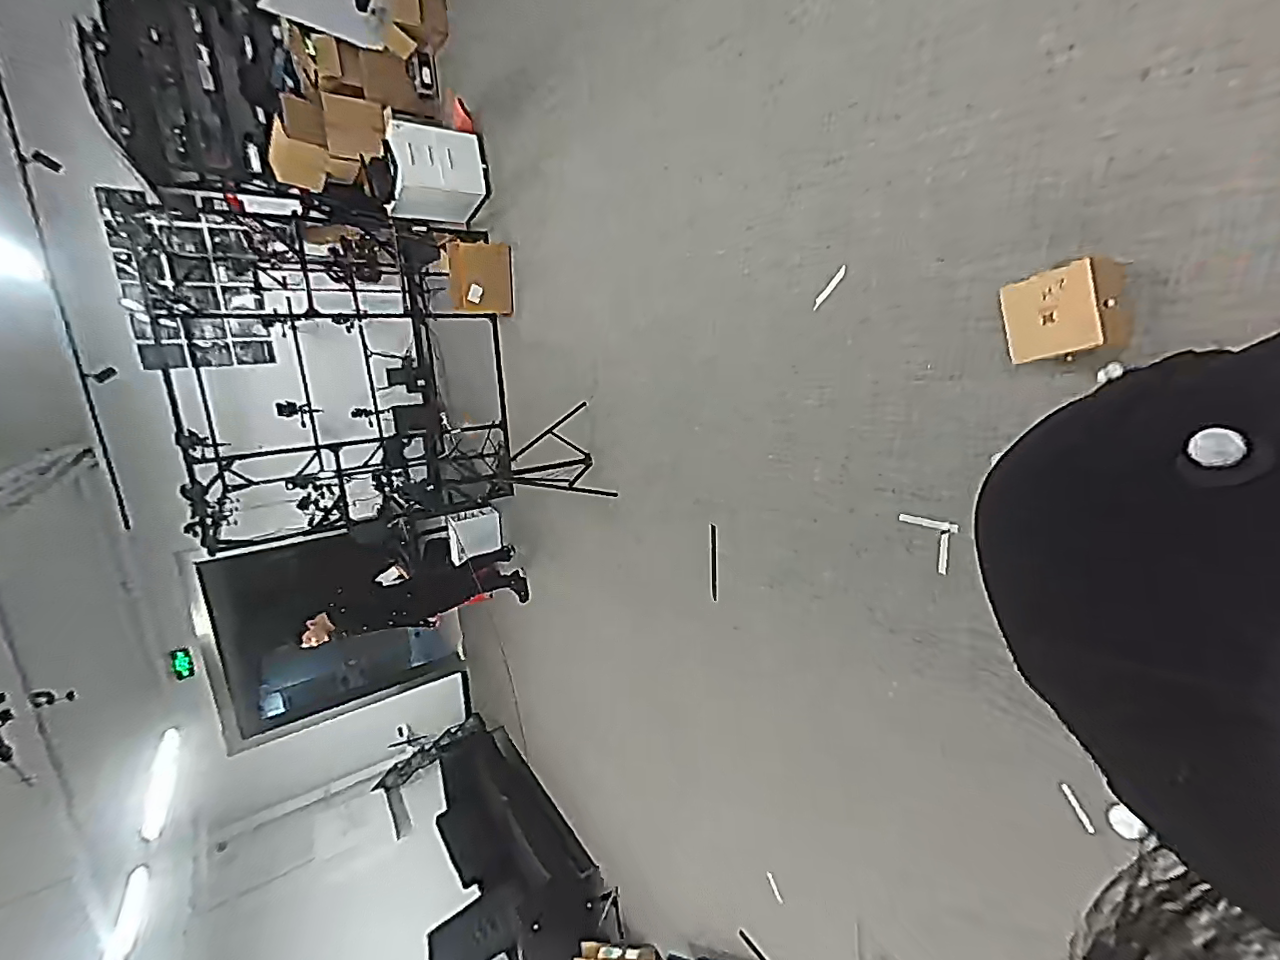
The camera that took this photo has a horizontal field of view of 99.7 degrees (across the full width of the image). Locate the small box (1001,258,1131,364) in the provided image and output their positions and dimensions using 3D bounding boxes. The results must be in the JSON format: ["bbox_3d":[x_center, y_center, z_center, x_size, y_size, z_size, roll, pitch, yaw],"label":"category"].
[{"bbox_3d":[0.917,-0.358,1.163,0.168,0.176,0.179,-8,92,58],"label":"small box"}]
